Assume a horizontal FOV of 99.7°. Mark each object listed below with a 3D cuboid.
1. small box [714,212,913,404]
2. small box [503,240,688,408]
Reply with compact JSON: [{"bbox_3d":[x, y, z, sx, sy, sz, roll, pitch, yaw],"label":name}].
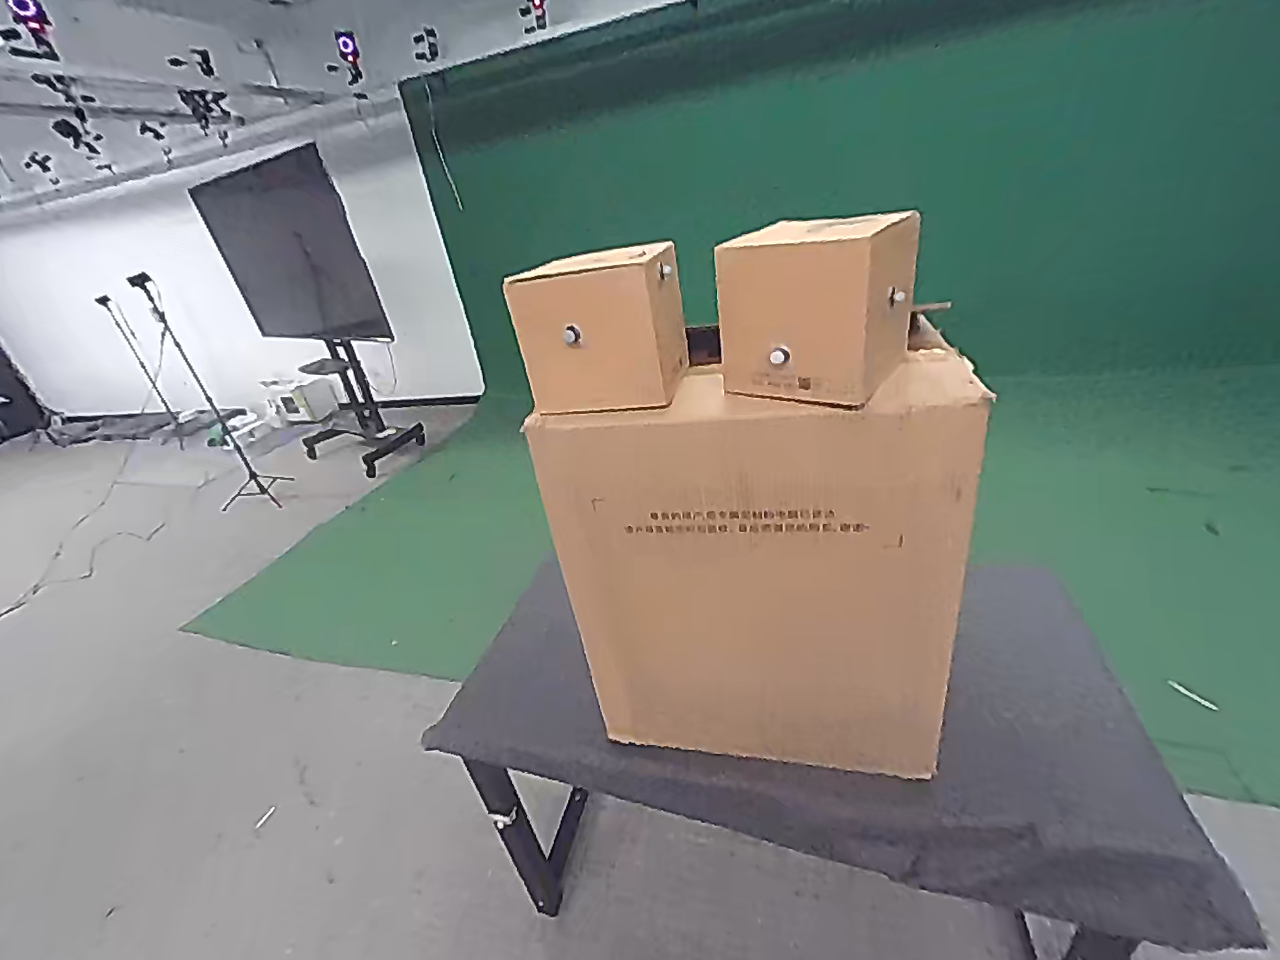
[{"bbox_3d":[0.203,-0.206,0.637,0.168,0.176,0.179,14,37,36],"label":"small box"},{"bbox_3d":[-0.046,-0.202,0.712,0.179,0.176,0.168,-3,30,18],"label":"small box"}]
